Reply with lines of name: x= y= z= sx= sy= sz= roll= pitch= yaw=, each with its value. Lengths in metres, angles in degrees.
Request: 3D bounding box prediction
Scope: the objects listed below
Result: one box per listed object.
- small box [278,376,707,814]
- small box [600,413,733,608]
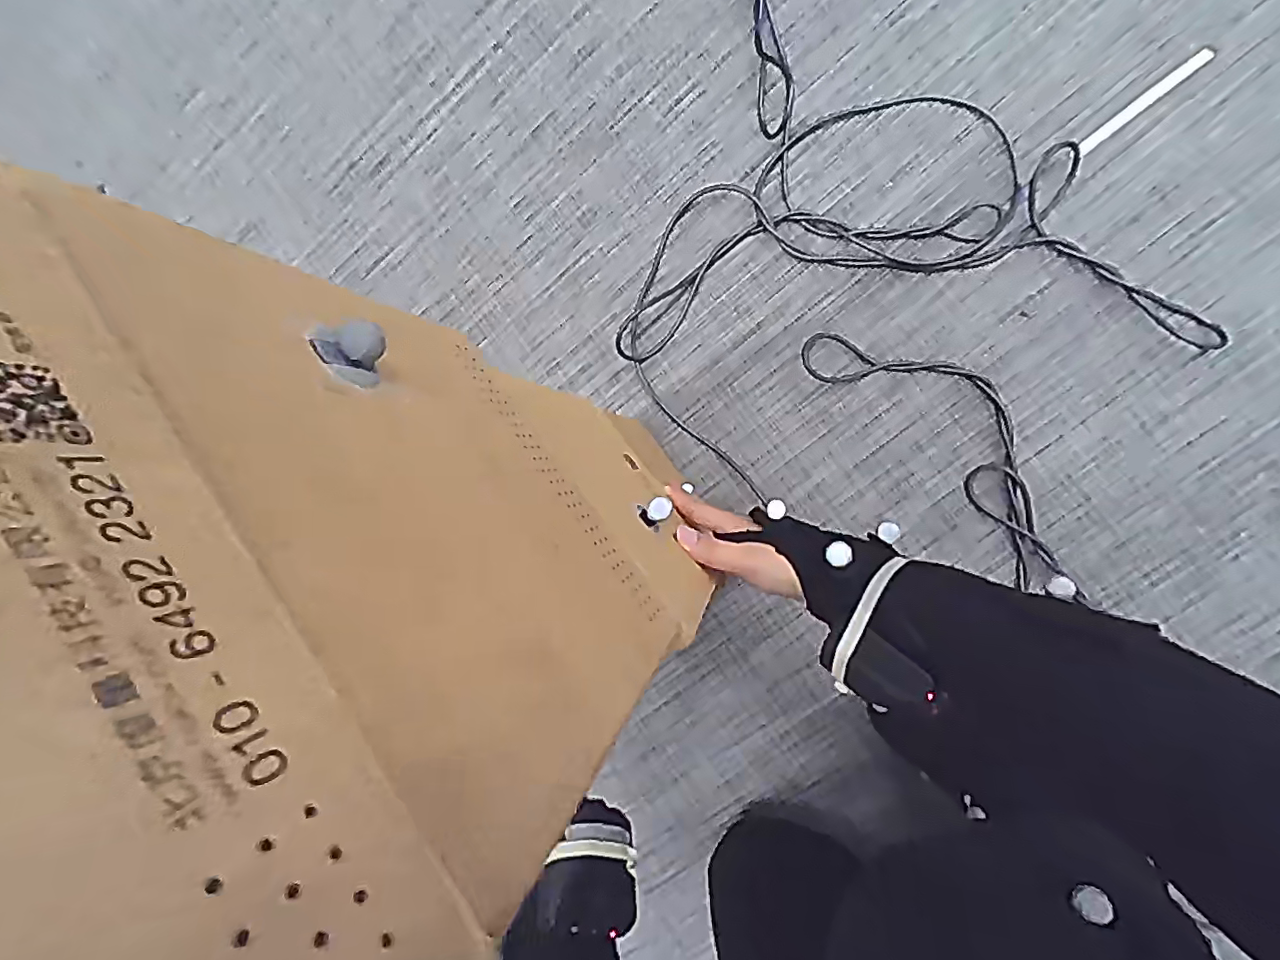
small box: x=-0.070 y=0.057 z=0.352 sx=0.179 sy=0.176 sz=0.168 roll=-39 pitch=84 yaw=13
small box: x=-0.030 y=0.059 z=0.510 sx=0.168 sy=0.176 sz=0.179 roll=-39 pitch=85 yaw=12
